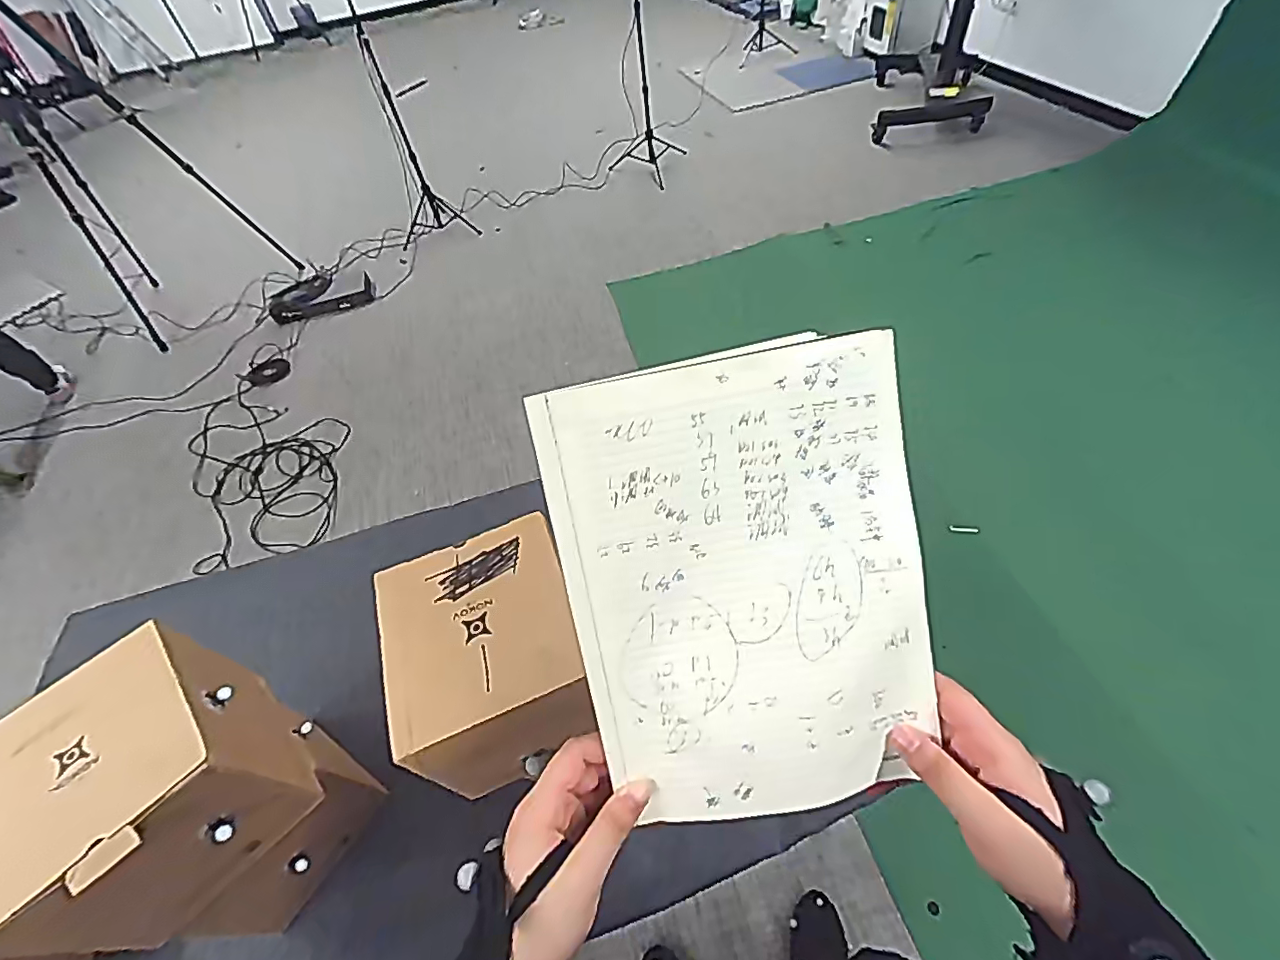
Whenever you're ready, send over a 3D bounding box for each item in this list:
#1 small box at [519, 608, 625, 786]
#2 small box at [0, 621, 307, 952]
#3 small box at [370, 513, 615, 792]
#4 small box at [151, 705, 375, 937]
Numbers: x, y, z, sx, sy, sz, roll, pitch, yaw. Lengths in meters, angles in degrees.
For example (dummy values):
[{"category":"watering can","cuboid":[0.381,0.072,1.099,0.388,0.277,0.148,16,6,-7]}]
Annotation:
[{"category":"small box","cuboid":[-0.124,0.258,0.659,0.179,0.176,0.168,5,53,13]},{"category":"small box","cuboid":[-0.445,0.268,0.486,0.179,0.176,0.168,35,63,30]},{"category":"small box","cuboid":[-0.136,0.168,0.521,0.168,0.176,0.179,-21,52,-8]},{"category":"small box","cuboid":[-0.446,0.367,0.615,0.179,0.176,0.168,24,58,24]}]
